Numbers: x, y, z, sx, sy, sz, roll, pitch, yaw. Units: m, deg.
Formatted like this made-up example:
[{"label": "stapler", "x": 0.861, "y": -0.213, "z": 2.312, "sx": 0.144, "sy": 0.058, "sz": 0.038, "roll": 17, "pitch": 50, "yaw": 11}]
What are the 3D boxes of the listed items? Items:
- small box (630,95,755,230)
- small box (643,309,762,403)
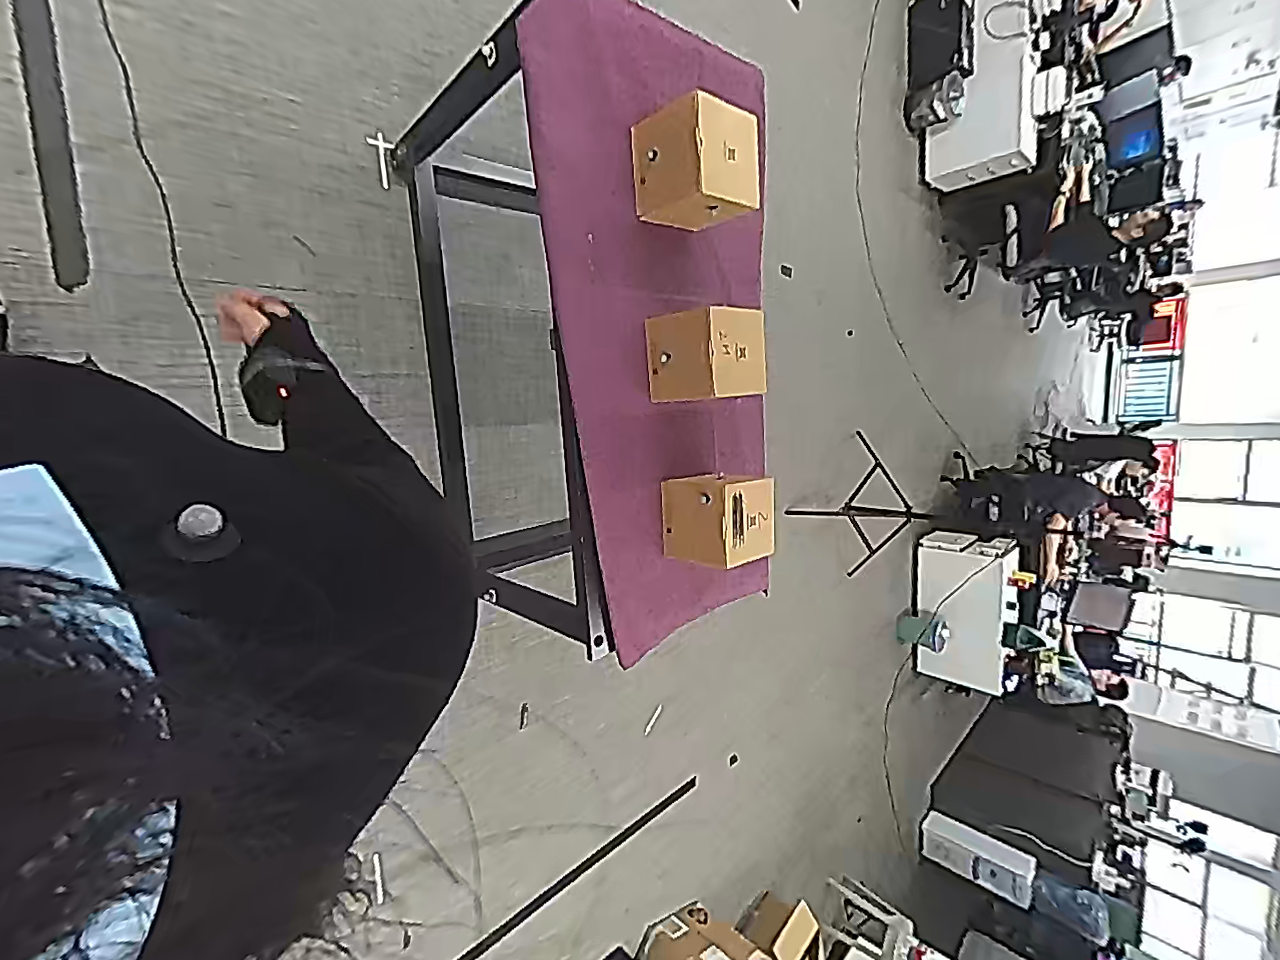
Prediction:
[{"label": "small box", "x": 0.102, "y": -0.593, "z": 1.041, "sx": 0.179, "sy": 0.176, "sz": 0.168, "roll": -13, "pitch": 104, "yaw": -42}, {"label": "small box", "x": 0.127, "y": -0.245, "z": 1.096, "sx": 0.179, "sy": 0.176, "sz": 0.168, "roll": -12, "pitch": 101, "yaw": -42}]
